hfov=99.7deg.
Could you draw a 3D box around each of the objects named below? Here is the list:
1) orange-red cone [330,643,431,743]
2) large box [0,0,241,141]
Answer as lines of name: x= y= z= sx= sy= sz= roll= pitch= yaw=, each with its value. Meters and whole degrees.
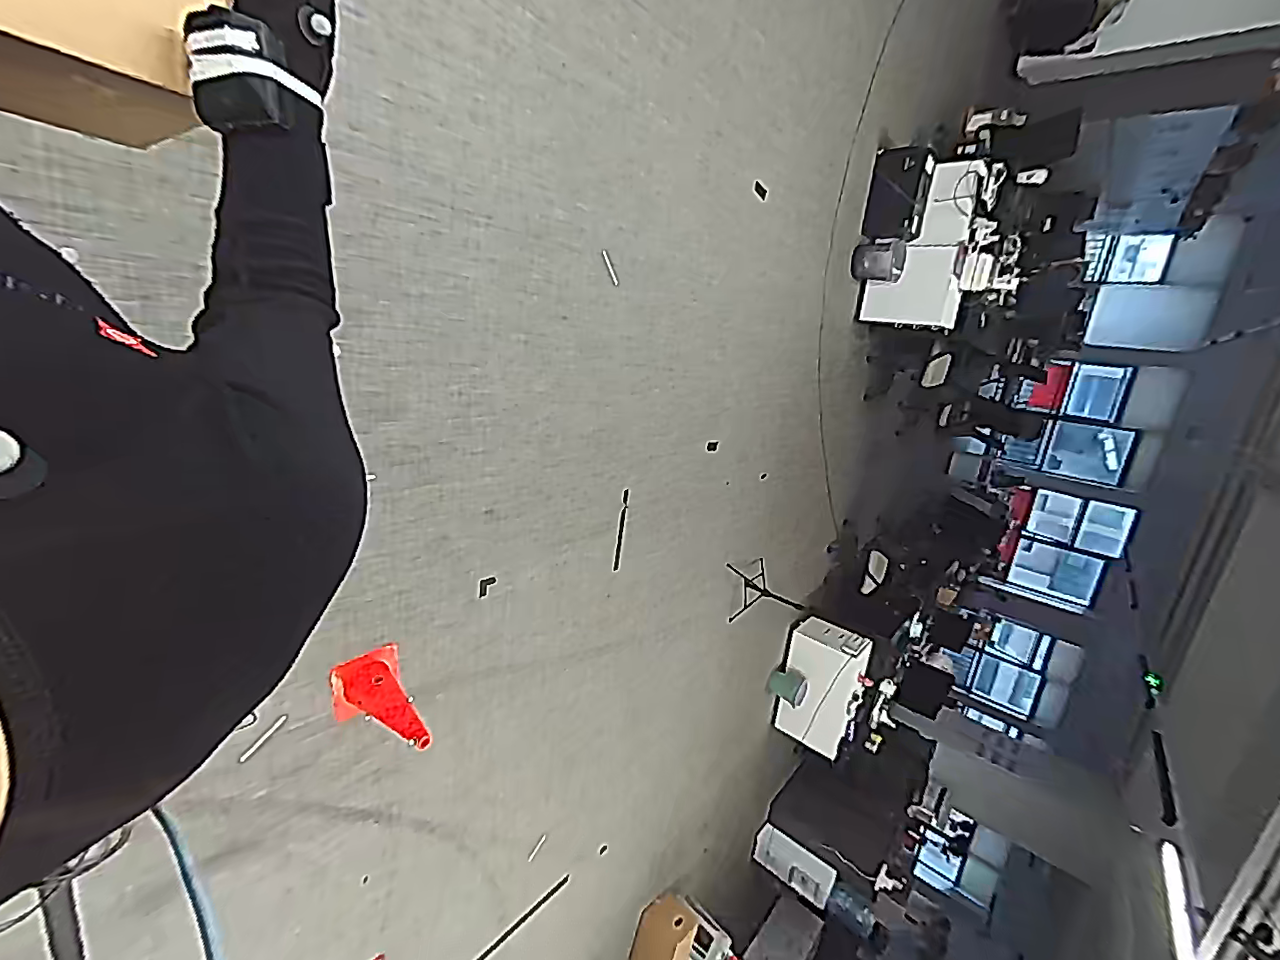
orange-red cone: x=-0.727 y=0.665 z=1.587 sx=0.198 sy=0.360 sz=0.199 roll=-16 pitch=115 yaw=-49
large box: x=-0.520 y=-0.443 z=0.302 sx=0.408 sy=0.320 sz=0.320 roll=-10 pitch=114 yaw=-52
